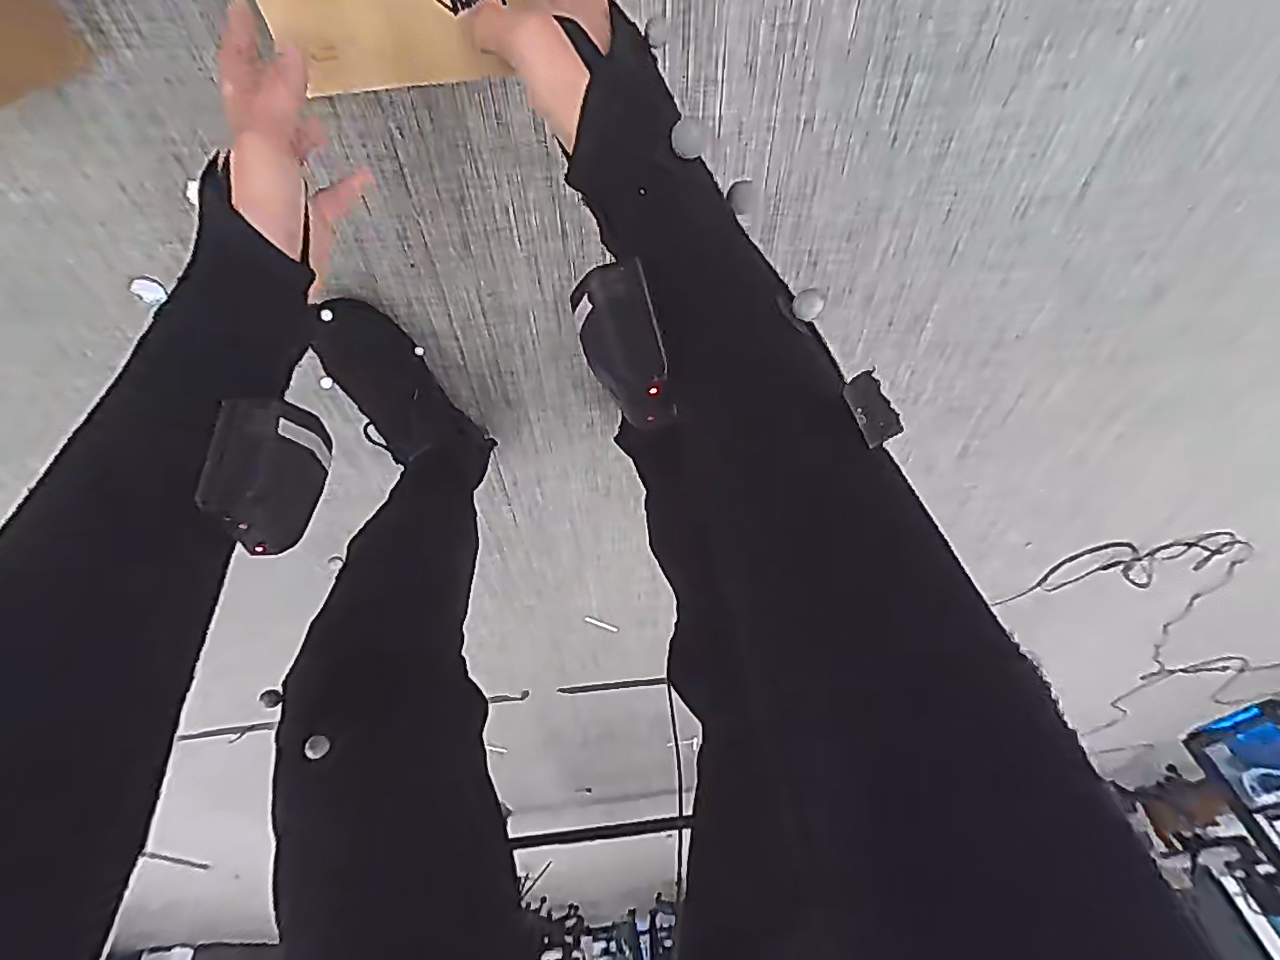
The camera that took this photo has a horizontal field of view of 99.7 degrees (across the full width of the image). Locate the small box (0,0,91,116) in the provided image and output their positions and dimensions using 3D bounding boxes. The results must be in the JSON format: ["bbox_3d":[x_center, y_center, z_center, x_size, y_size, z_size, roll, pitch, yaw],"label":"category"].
[{"bbox_3d":[-0.538,-0.334,0.343,0.168,0.176,0.179,-7,138,0],"label":"small box"}]
